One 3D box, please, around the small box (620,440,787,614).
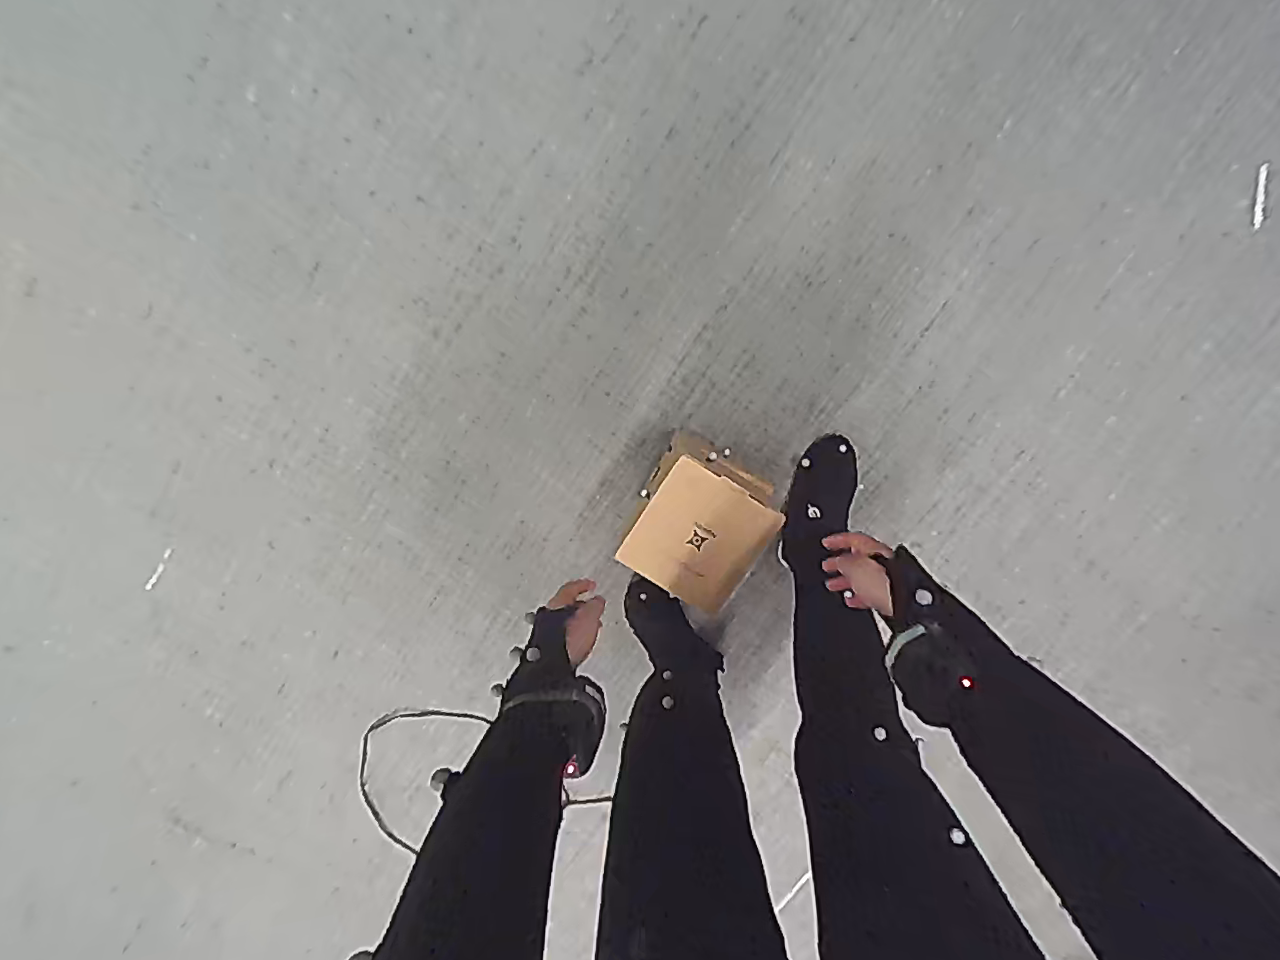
[{"bbox_3d":[0.087,0.058,0.807,0.168,0.176,0.179,33,102,-3],"label":"small box"}]
